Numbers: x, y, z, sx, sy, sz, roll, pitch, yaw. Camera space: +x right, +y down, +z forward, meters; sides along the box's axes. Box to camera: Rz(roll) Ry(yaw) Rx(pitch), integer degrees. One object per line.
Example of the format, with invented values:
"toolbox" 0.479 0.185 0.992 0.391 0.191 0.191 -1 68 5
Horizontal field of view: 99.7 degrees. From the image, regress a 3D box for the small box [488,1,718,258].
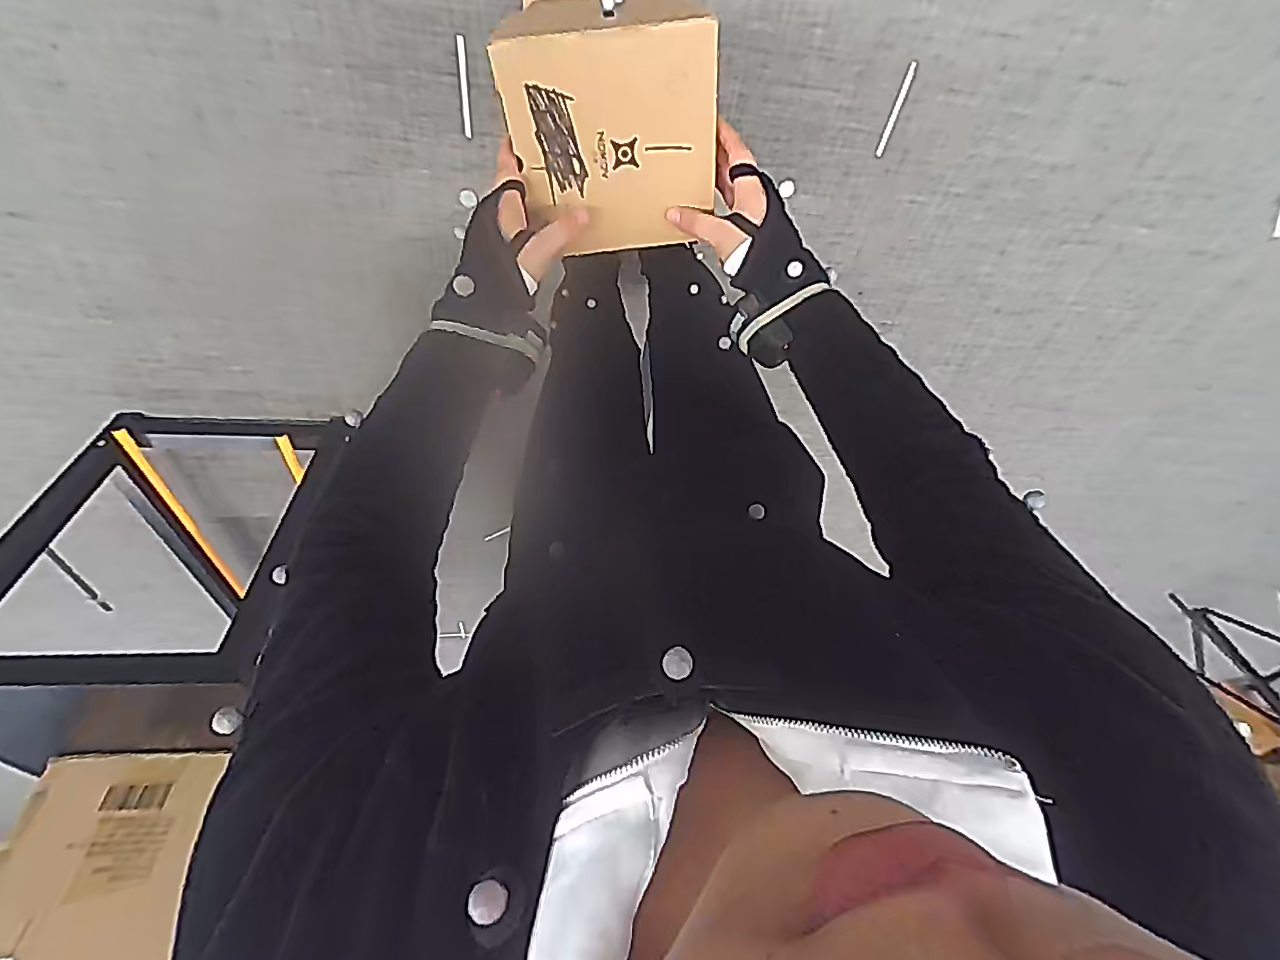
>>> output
"small box" -0.028 -0.332 0.513 0.179 0.176 0.168 -6 136 0
